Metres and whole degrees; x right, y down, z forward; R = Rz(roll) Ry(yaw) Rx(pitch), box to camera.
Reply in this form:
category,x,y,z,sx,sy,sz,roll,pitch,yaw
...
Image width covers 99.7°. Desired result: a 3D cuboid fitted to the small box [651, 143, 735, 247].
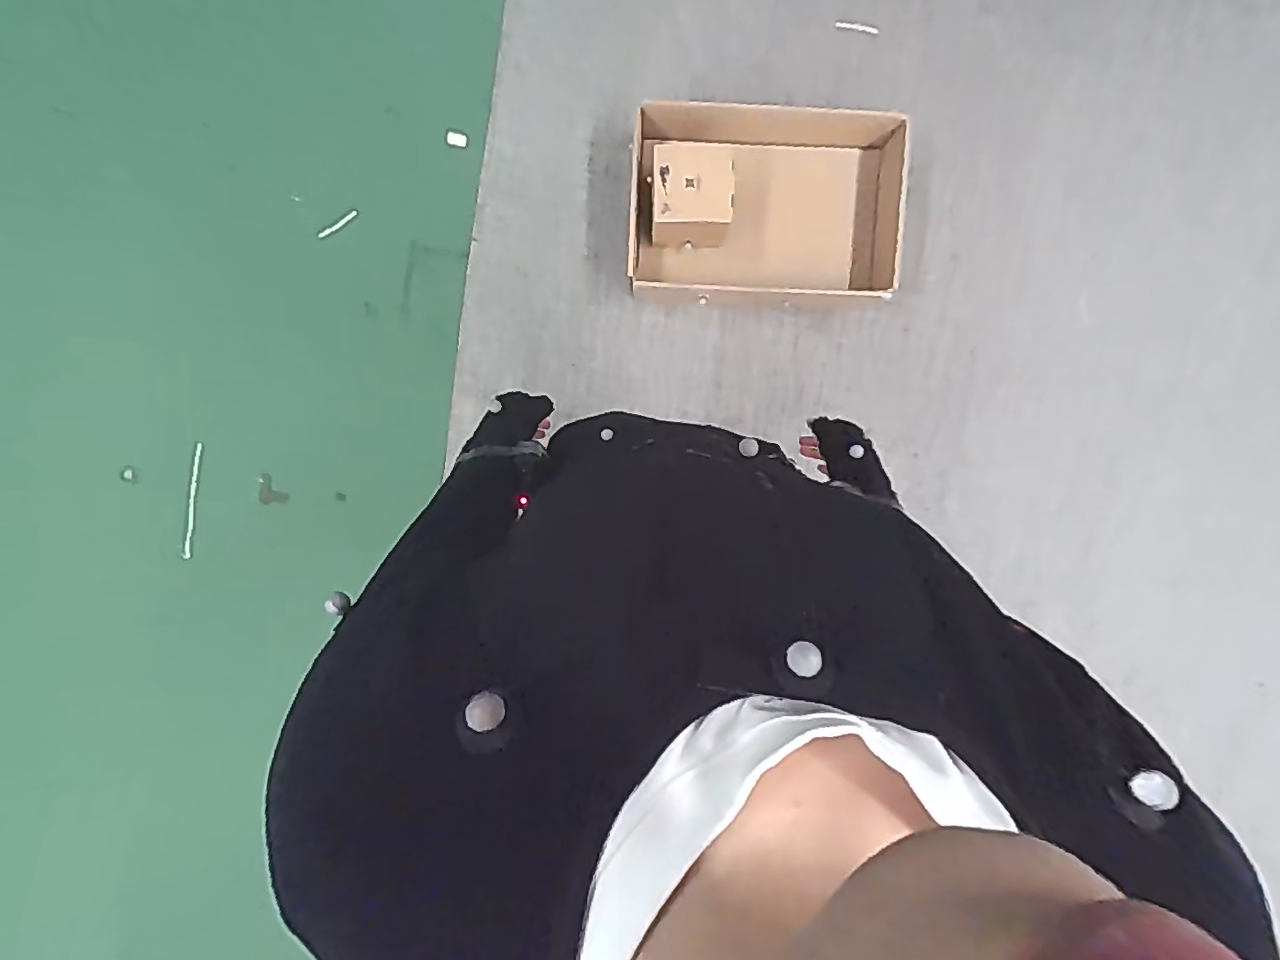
category,x,y,z,sx,sy,sz,roll,pitch,yaw
small box,0.118,-0.659,1.266,0.179,0.176,0.168,0,95,-2
